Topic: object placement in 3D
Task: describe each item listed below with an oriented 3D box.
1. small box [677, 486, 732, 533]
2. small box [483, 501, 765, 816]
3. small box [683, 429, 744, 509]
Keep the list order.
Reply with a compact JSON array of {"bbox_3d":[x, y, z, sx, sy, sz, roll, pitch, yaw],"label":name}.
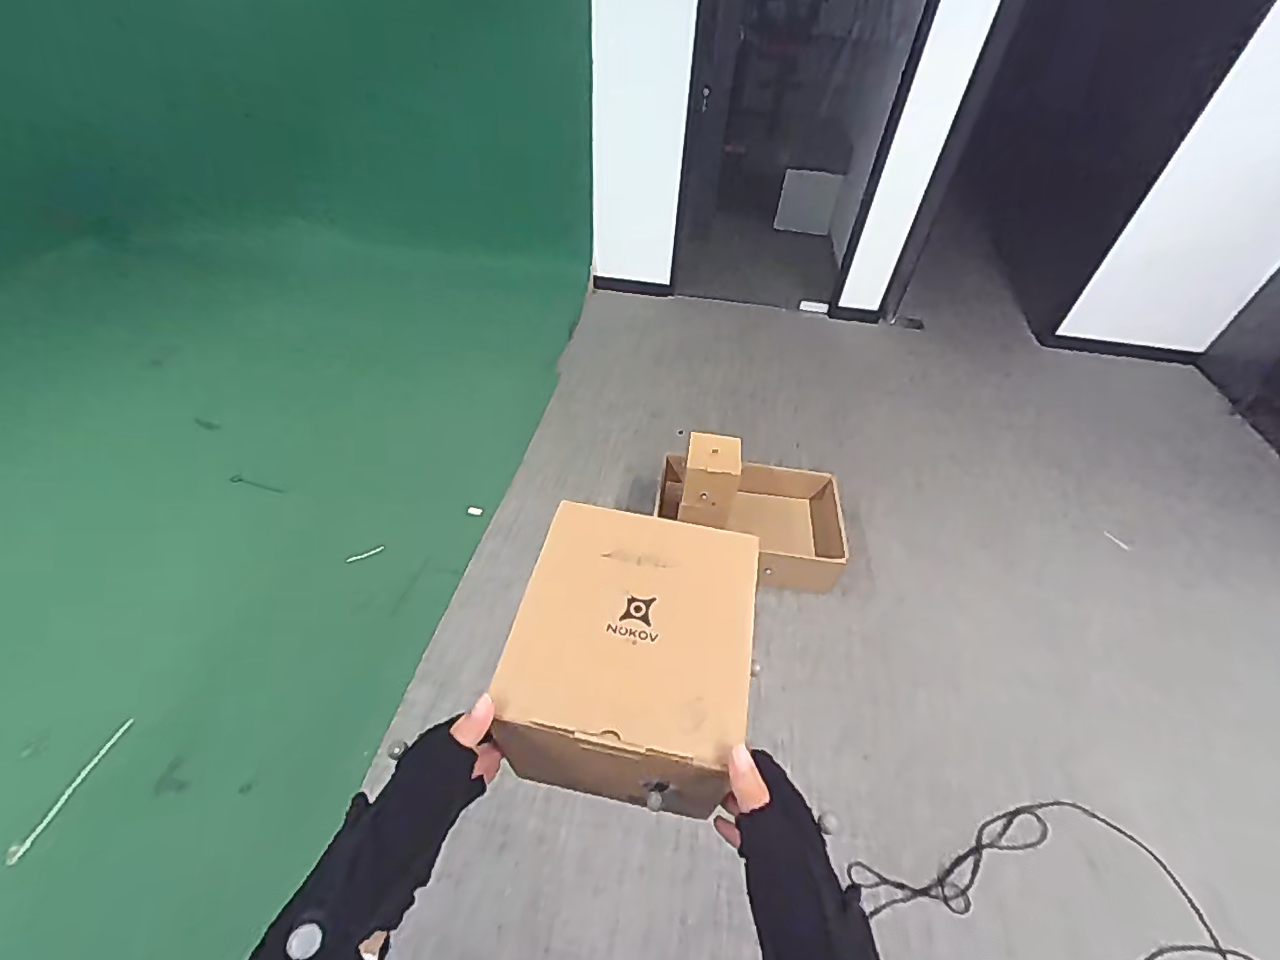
[{"bbox_3d":[0.221,0.083,1.845,0.168,0.176,0.179,10,45,4],"label":"small box"},{"bbox_3d":[-0.004,0.148,0.438,0.168,0.176,0.179,12,50,6],"label":"small box"},{"bbox_3d":[0.233,-0.034,1.732,0.168,0.176,0.179,9,45,3],"label":"small box"}]
